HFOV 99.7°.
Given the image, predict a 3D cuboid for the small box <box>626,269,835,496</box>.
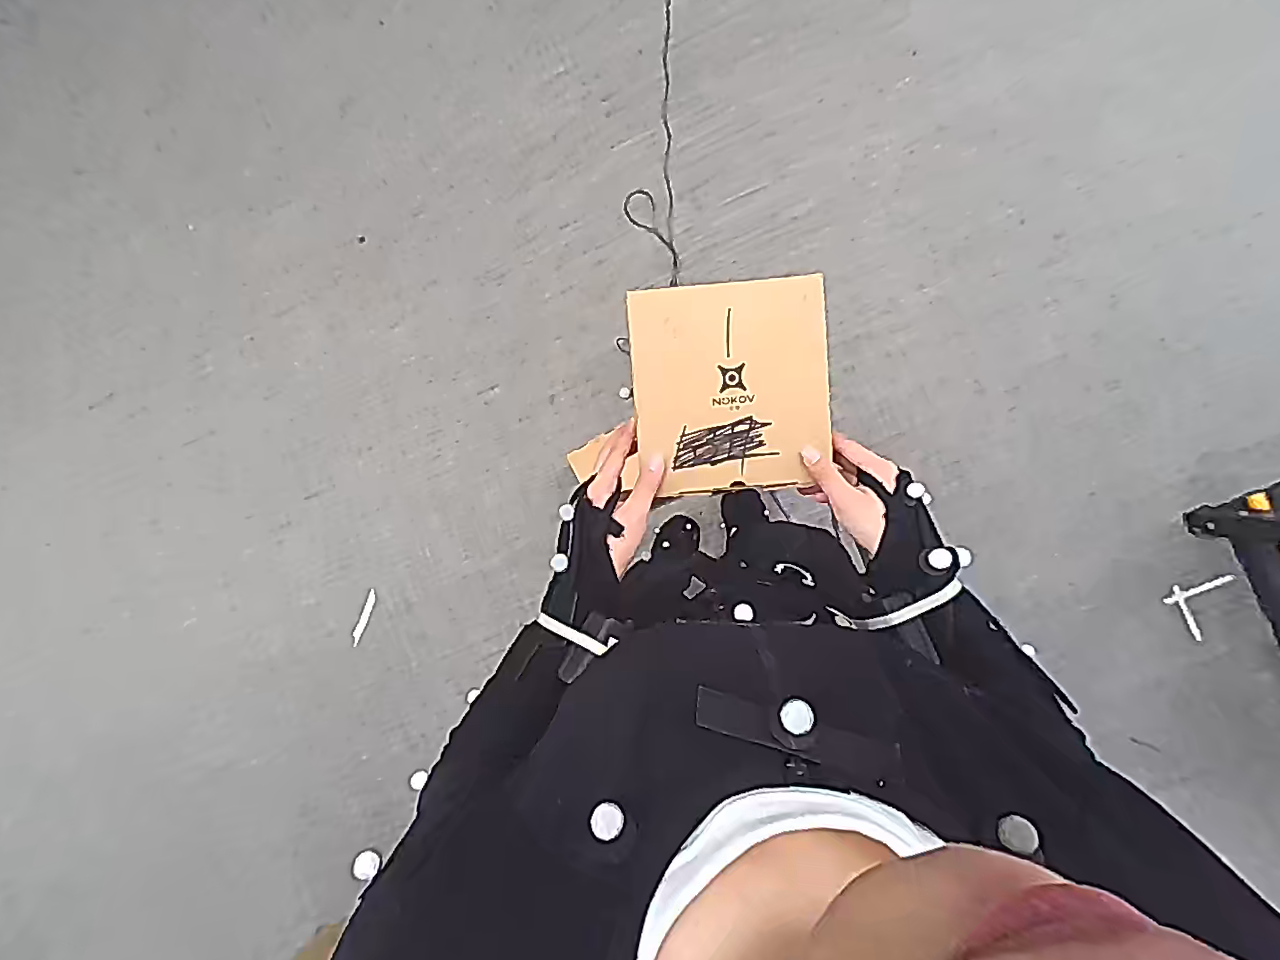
[{"bbox_3d":[0.077,-0.086,0.521,0.168,0.176,0.179,-5,95,0],"label":"small box"}]
